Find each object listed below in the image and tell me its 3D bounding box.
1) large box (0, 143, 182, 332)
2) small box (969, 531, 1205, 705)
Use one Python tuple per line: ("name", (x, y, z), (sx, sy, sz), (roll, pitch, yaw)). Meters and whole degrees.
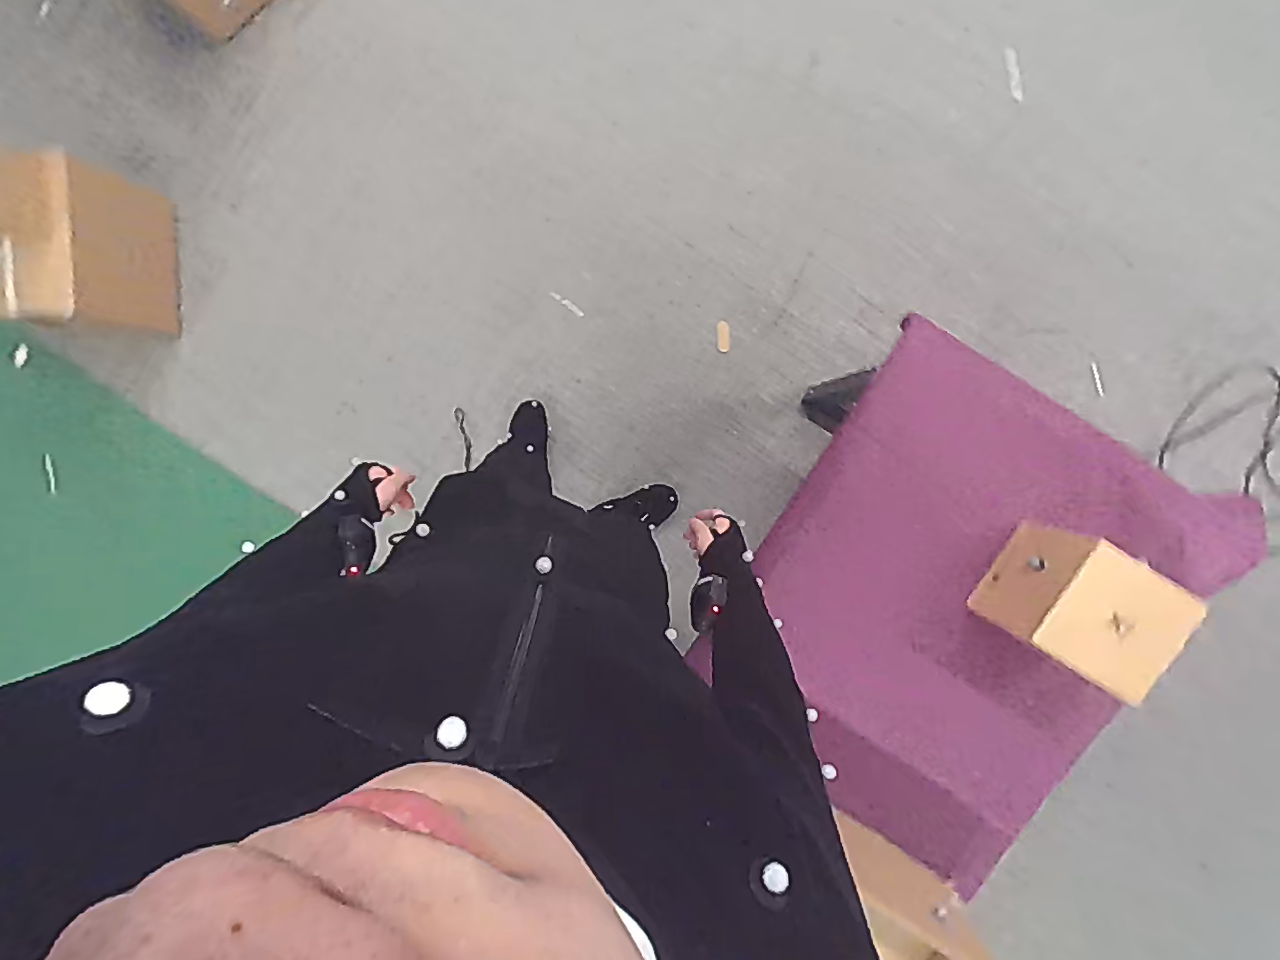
("large box", (-1.544, -0.636, 1.479), (0.320, 0.320, 0.408), (1, 96, 3))
("small box", (0.646, 0.190, 0.809), (0.179, 0.176, 0.168), (32, 95, -1))
